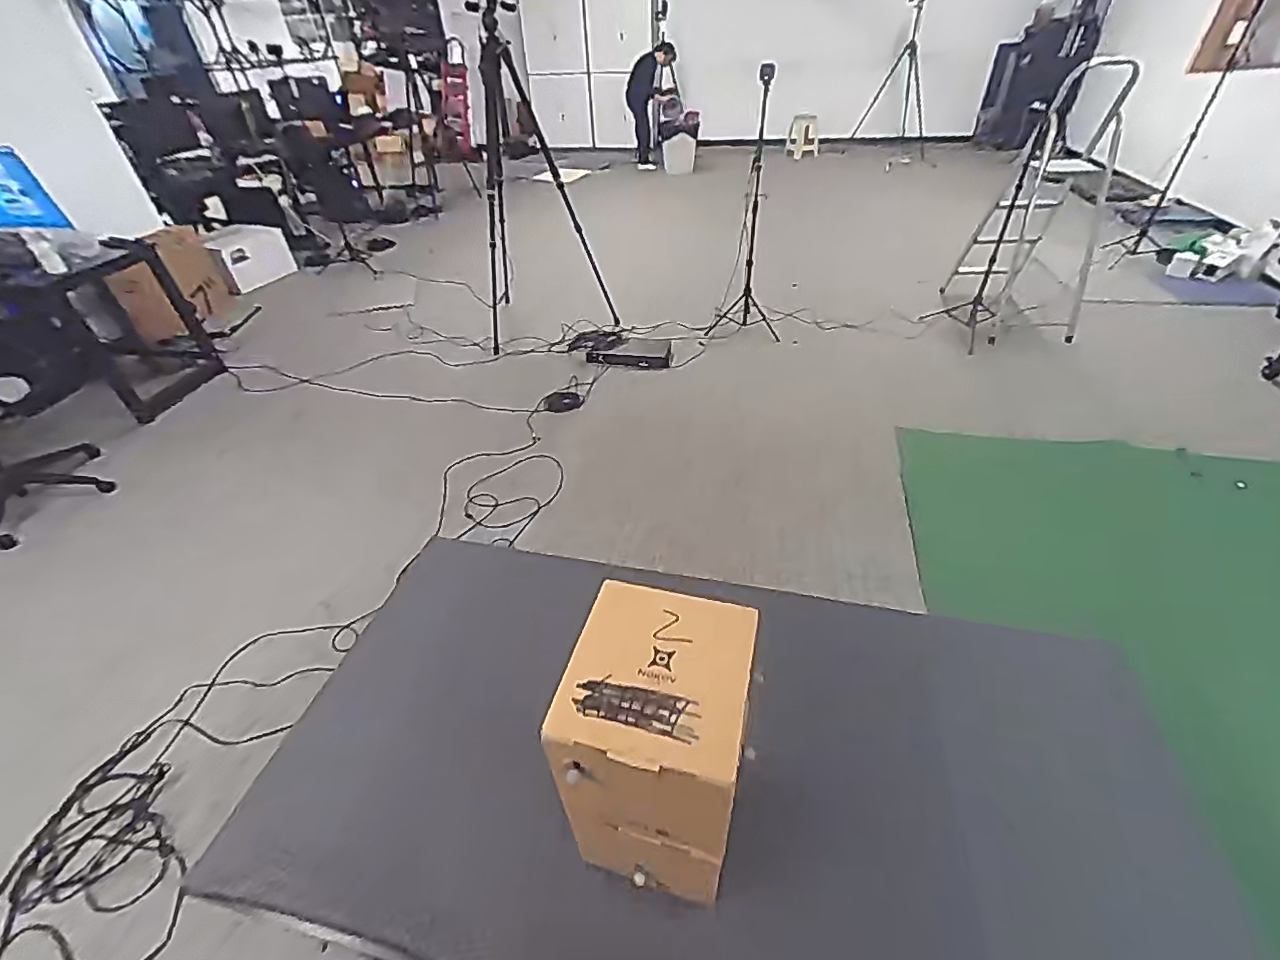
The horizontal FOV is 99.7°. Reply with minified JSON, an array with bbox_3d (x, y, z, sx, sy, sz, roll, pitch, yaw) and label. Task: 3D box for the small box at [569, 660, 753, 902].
[{"bbox_3d":[0.031,0.352,0.642,0.168,0.176,0.179,10,41,16],"label":"small box"}]
